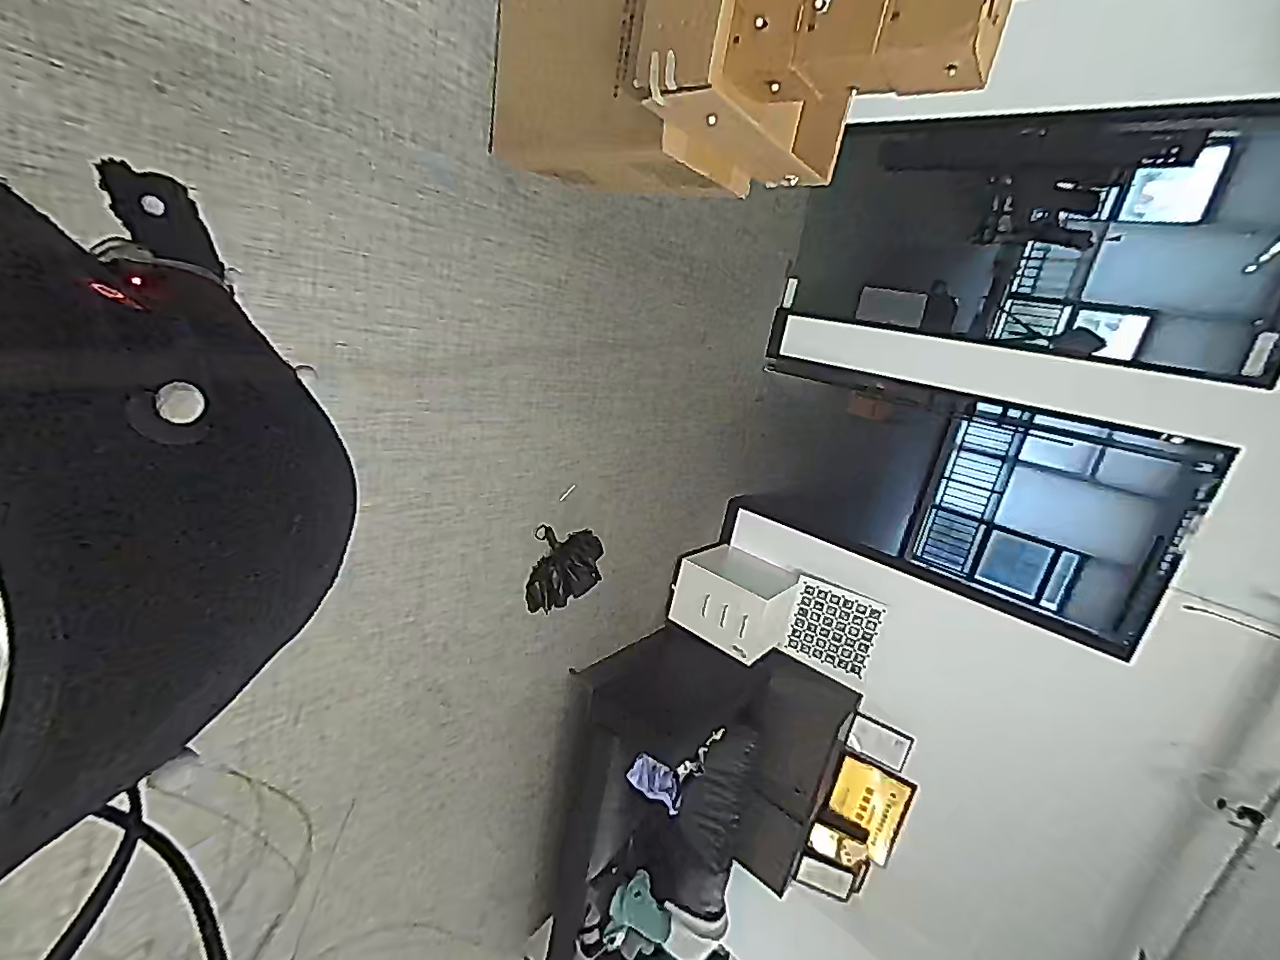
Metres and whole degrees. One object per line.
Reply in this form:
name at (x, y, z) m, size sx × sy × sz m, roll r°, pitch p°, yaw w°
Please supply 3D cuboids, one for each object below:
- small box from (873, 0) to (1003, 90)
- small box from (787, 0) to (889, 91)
small box at (0.554, -0.855, 1.006) m, size 0.179 × 0.176 × 0.168 m, roll -12°, pitch 118°, yaw -53°
small box at (0.422, -0.909, 1.089) m, size 0.179 × 0.176 × 0.168 m, roll -15°, pitch 121°, yaw -49°
